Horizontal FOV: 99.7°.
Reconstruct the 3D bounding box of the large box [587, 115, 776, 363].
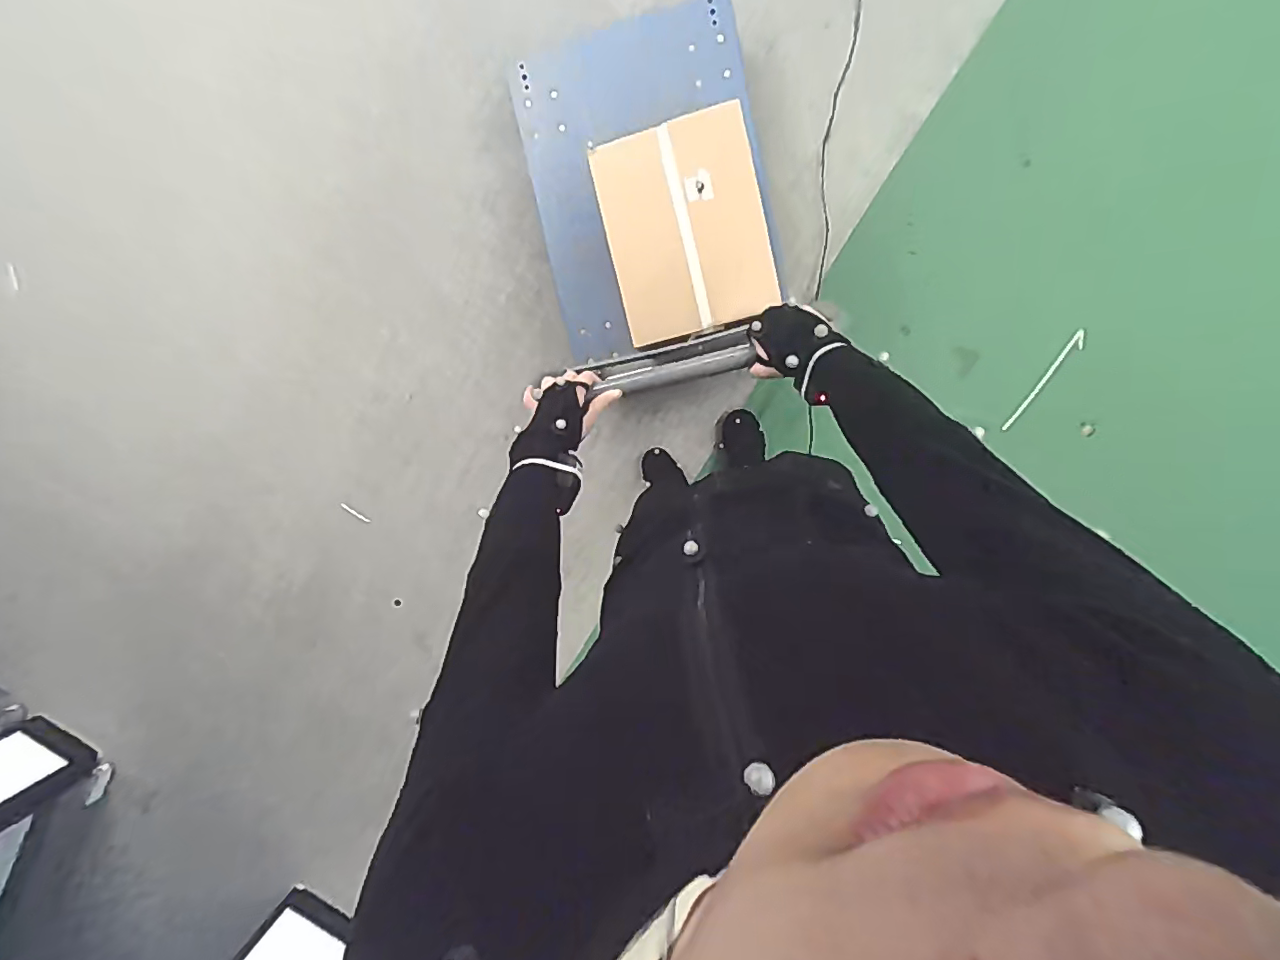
[{"bbox_3d":[0.105,-0.517,1.256,0.320,0.320,0.408,-13,96,8],"label":"large box"}]
